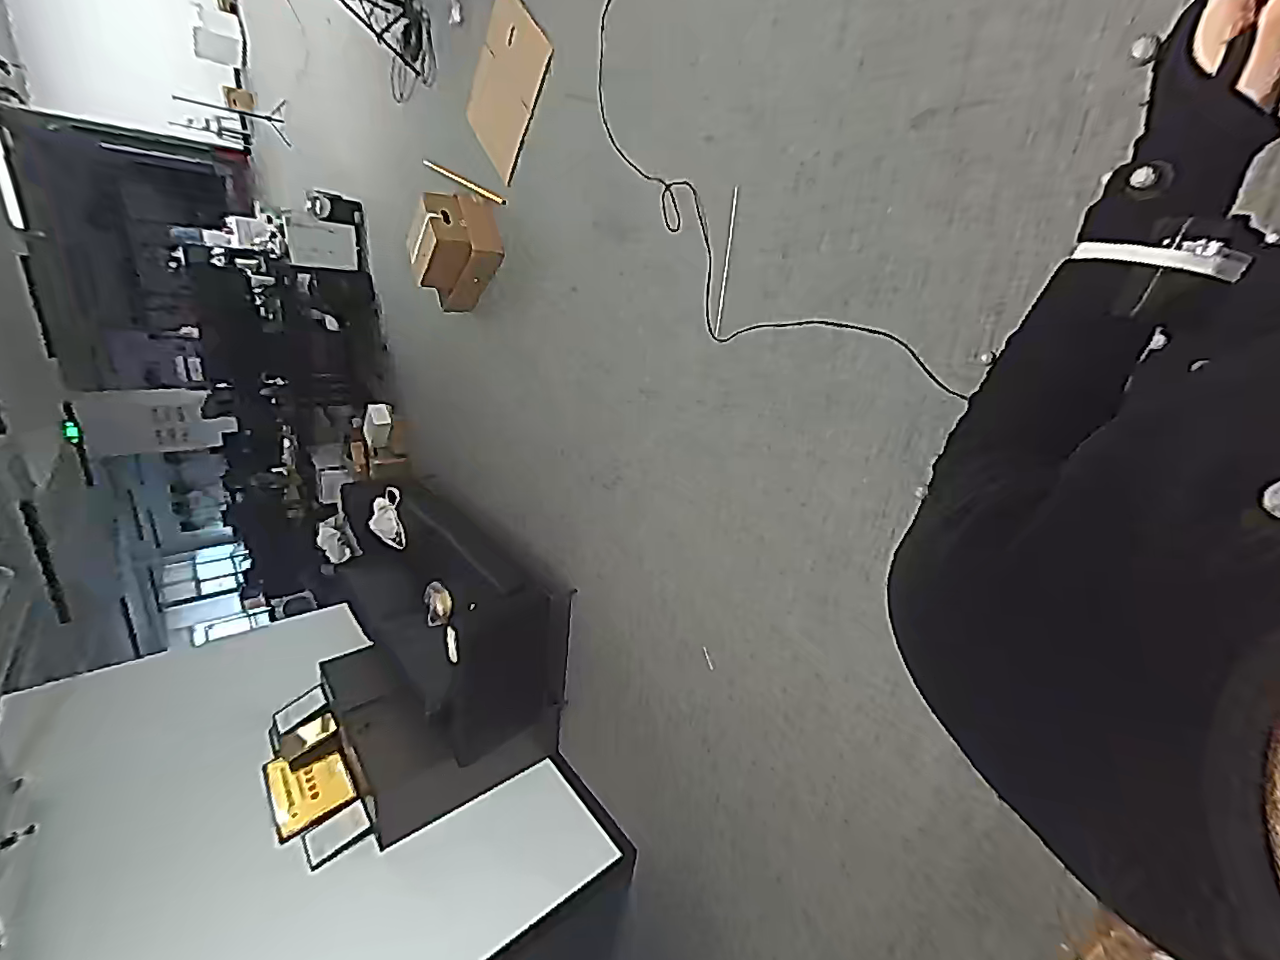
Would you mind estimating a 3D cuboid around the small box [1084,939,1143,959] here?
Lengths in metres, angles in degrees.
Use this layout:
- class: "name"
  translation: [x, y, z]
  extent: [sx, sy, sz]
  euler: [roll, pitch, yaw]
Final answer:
- class: "small box"
  translation: [0.884, 1.001, 0.977]
  extent: [0.168, 0.176, 0.179]
  euler: [35, 126, 41]
